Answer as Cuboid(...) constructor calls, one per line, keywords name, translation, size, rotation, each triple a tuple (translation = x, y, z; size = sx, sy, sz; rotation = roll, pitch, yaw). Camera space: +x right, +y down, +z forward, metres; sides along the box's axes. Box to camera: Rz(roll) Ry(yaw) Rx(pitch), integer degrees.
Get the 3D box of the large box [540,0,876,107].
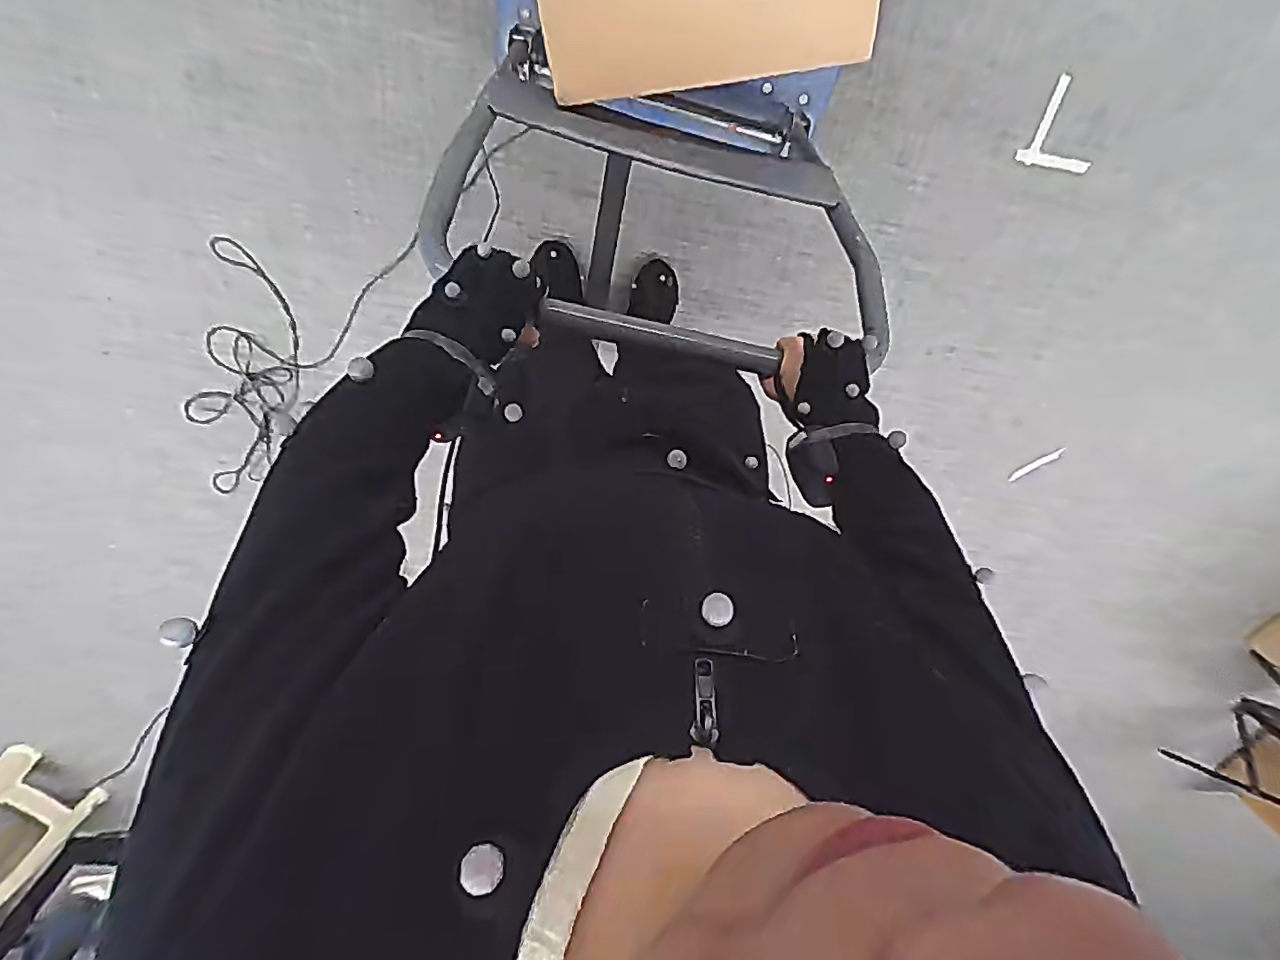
Cuboid(name="large box", translation=(0.066, -0.725, 0.691), size=(0.408, 0.320, 0.320), rotation=(-6, 137, 4))
